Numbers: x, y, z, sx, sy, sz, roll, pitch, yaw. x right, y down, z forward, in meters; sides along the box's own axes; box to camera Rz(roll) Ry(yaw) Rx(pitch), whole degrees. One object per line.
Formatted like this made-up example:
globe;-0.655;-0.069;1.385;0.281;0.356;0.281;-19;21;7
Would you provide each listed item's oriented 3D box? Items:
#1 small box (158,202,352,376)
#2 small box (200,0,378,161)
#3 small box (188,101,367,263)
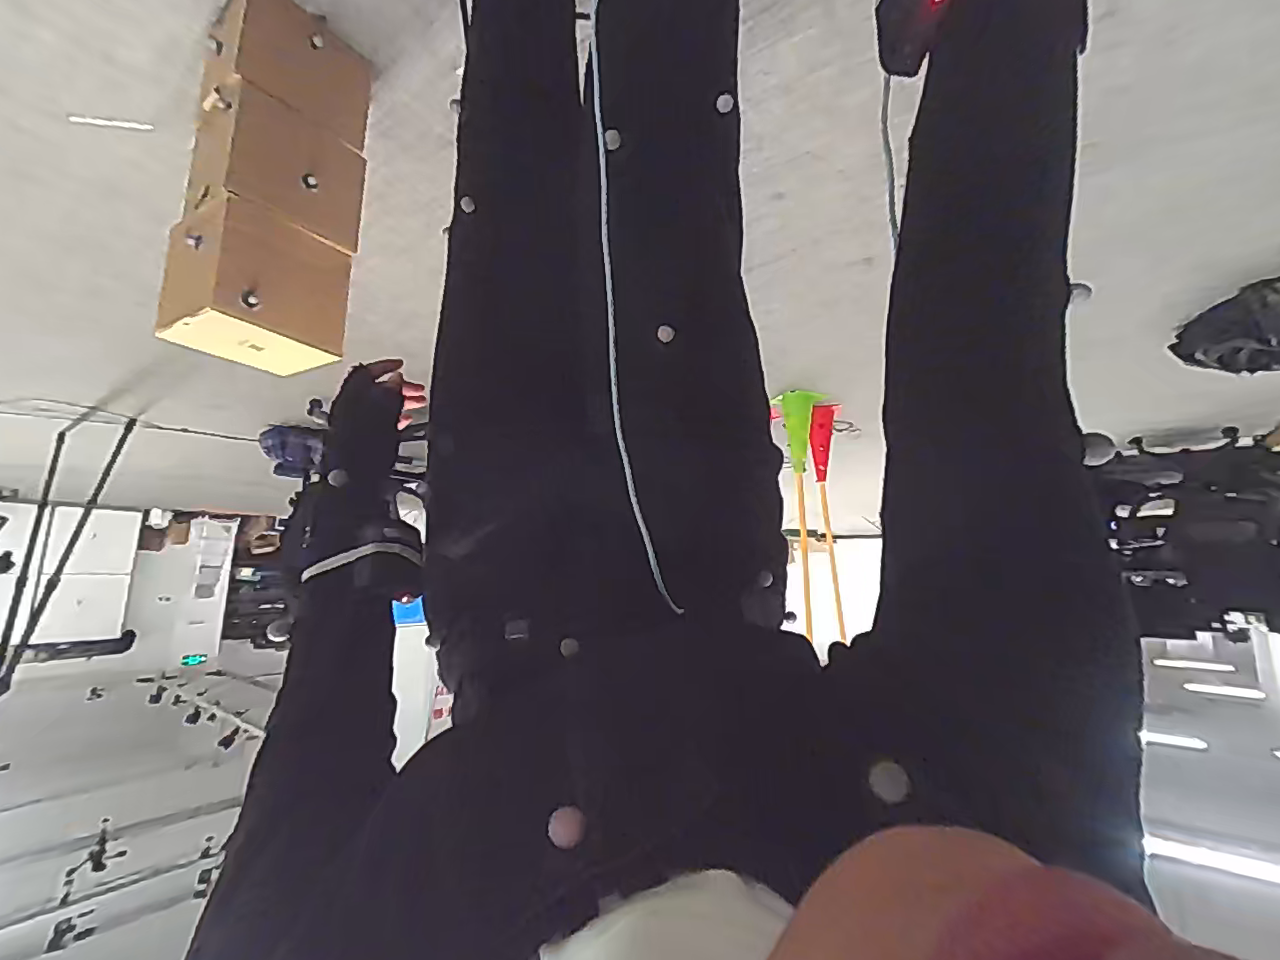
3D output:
small box;-0.558;-0.272;0.801;0.168;0.176;0.179;-4;168;29
small box;-0.543;-0.597;0.847;0.168;0.176;0.179;-3;168;37
small box;-0.548;-0.432;0.825;0.168;0.176;0.179;-5;169;34
